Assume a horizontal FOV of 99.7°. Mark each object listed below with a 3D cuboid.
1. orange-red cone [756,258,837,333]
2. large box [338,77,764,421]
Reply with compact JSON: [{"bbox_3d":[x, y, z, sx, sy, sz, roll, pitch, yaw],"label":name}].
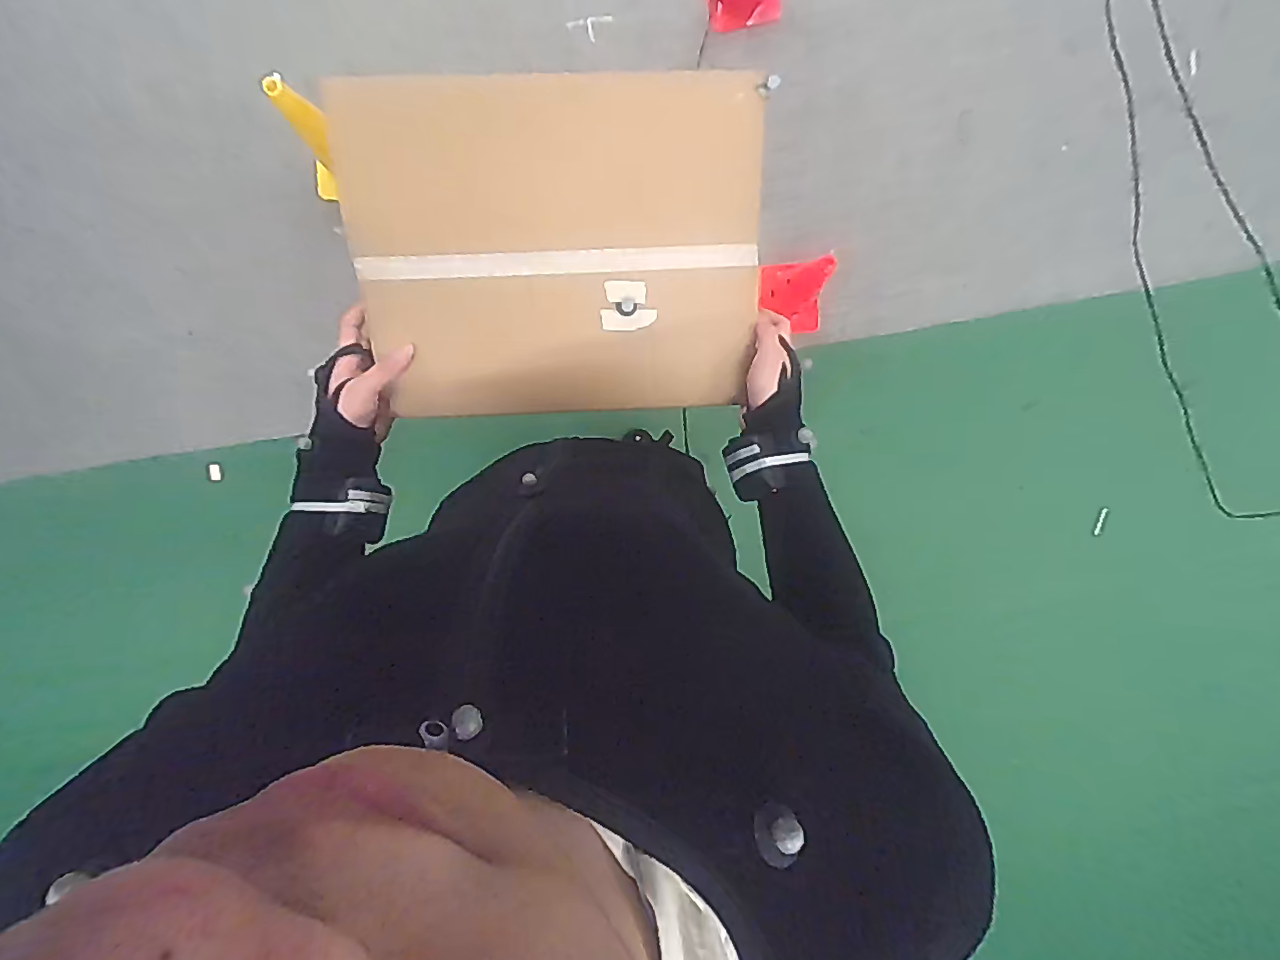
[{"bbox_3d":[0.432,-0.516,1.424,0.199,0.360,0.198,-2,96,-3],"label":"orange-red cone"},{"bbox_3d":[-0.084,-0.276,0.692,0.408,0.320,0.320,-4,113,-3],"label":"large box"}]
